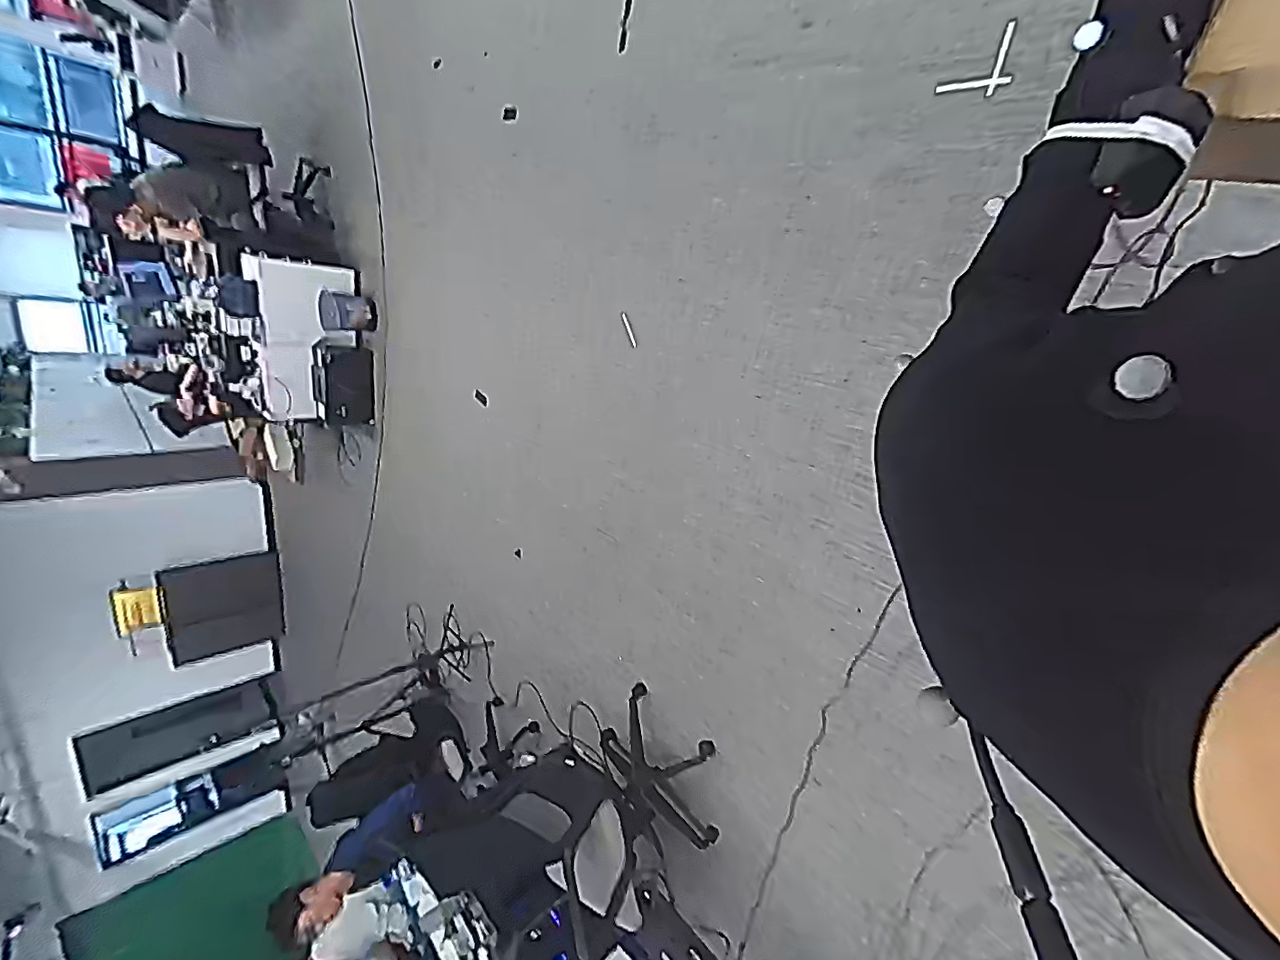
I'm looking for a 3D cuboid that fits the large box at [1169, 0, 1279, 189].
[{"bbox_3d":[0.646,-0.357,0.320,0.408,0.320,0.320,29,124,35],"label":"large box"}]
